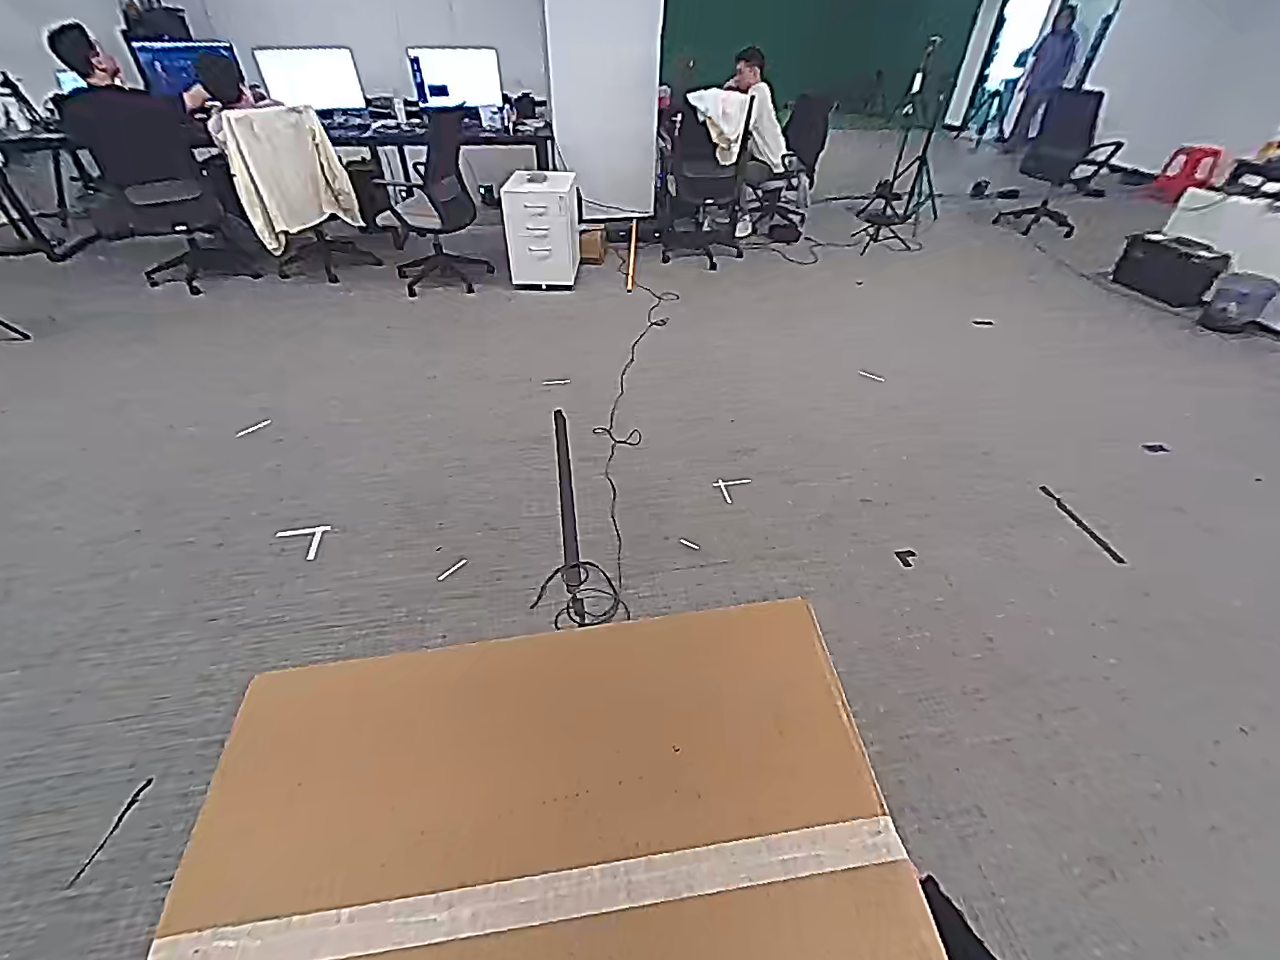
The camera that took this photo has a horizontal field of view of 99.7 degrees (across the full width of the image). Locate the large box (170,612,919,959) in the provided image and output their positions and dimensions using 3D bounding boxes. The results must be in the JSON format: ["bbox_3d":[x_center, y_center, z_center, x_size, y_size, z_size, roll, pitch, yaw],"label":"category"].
[{"bbox_3d":[-0.050,0.337,0.411,0.408,0.320,0.320,-7,46,-3],"label":"large box"}]
